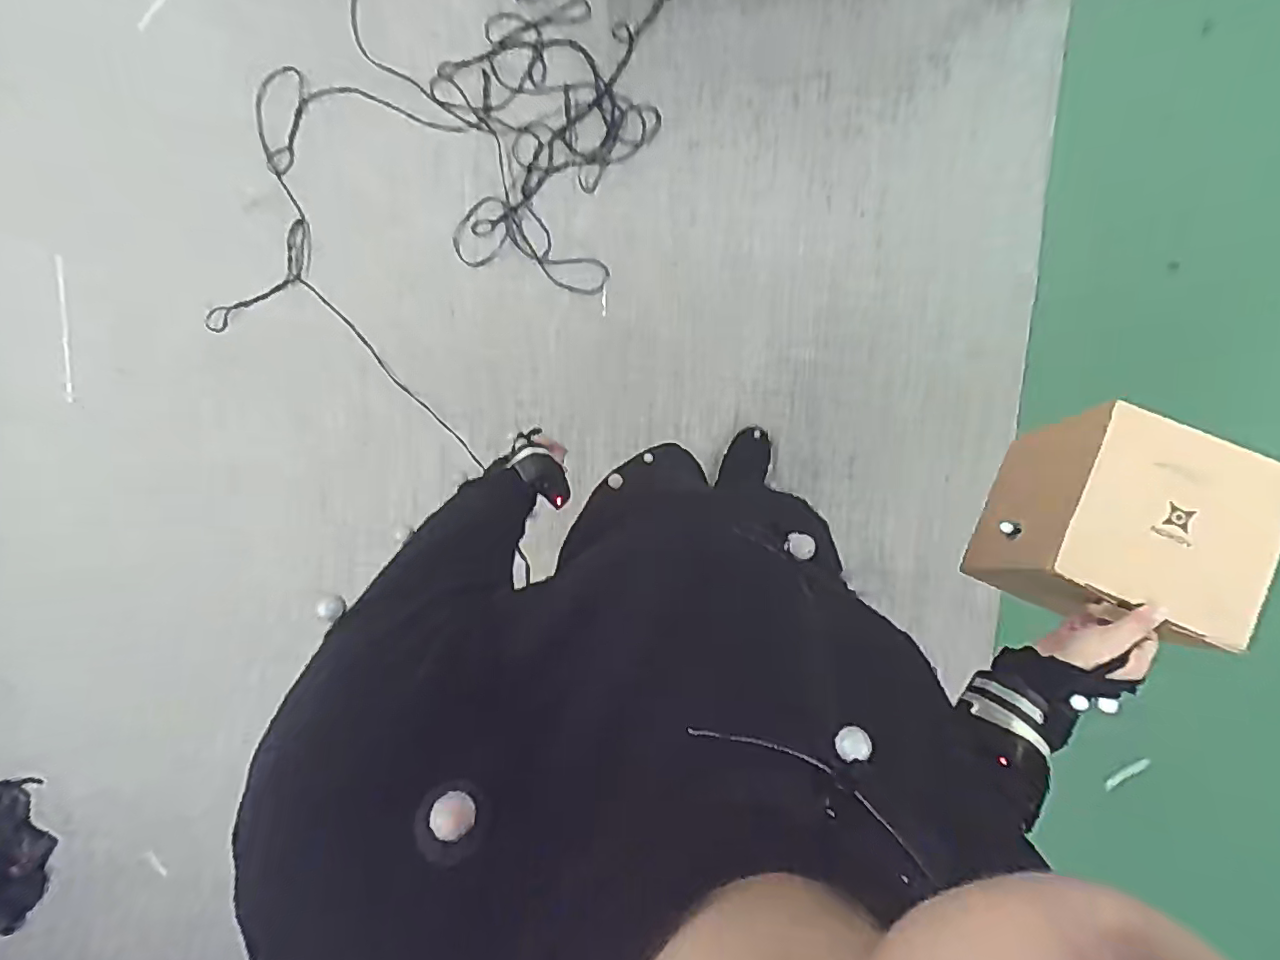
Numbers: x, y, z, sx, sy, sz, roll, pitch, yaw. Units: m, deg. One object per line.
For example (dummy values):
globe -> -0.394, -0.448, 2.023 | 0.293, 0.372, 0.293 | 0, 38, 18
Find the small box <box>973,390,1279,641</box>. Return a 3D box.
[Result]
small box -> 0.480, 0.040, 0.551 | 0.168, 0.176, 0.179 | 24, 83, 8
